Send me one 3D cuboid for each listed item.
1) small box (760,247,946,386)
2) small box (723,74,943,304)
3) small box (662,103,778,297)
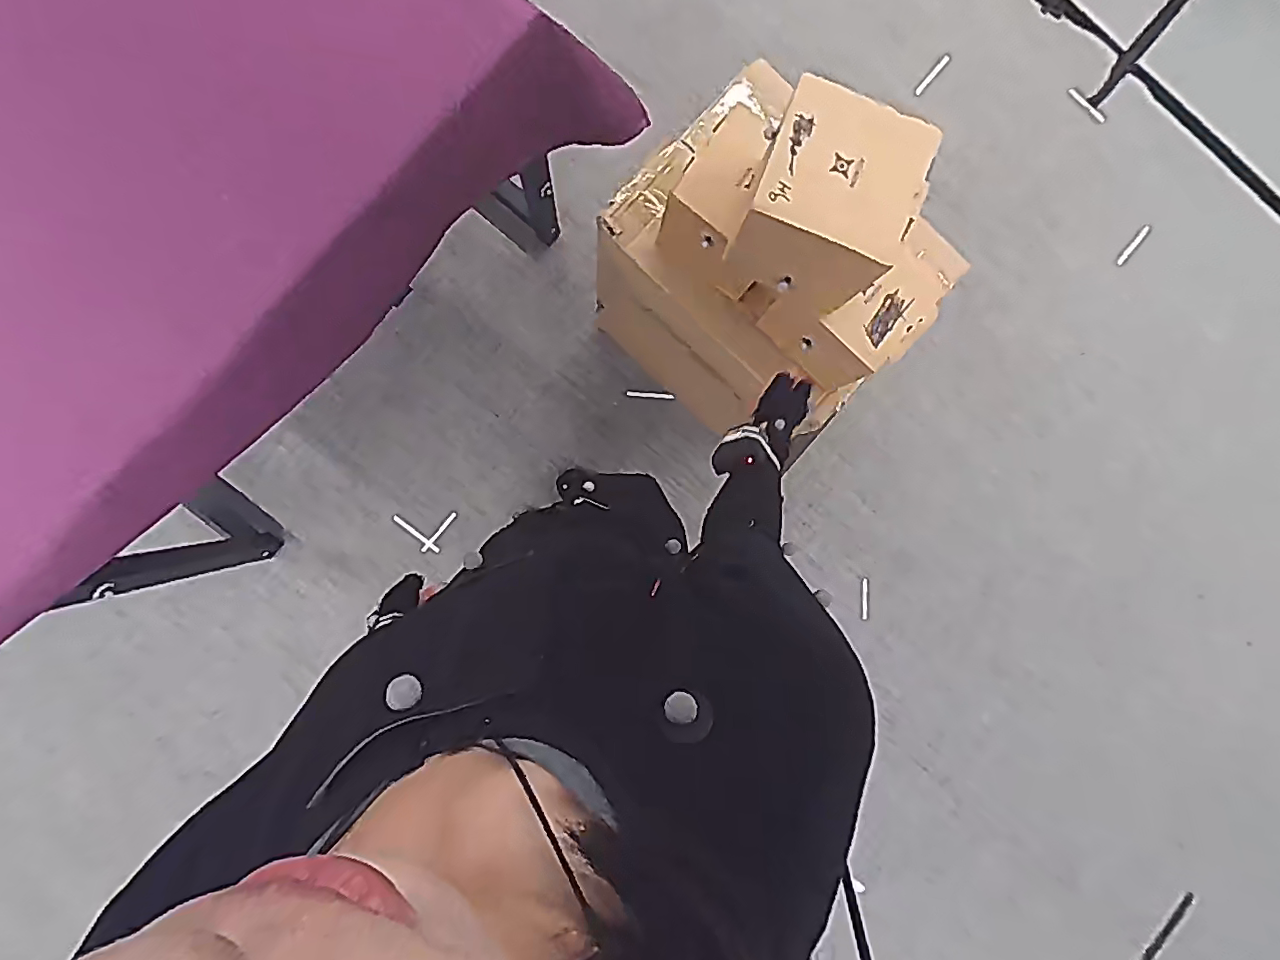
[{"bbox_3d":[0.319,-0.266,0.846,0.179,0.176,0.168,42,87,-1],"label":"small box"},{"bbox_3d":[0.226,-0.342,0.678,0.179,0.176,0.168,22,88,-3],"label":"small box"},{"bbox_3d":[0.151,-0.415,0.837,0.179,0.176,0.168,37,88,-5],"label":"small box"}]
